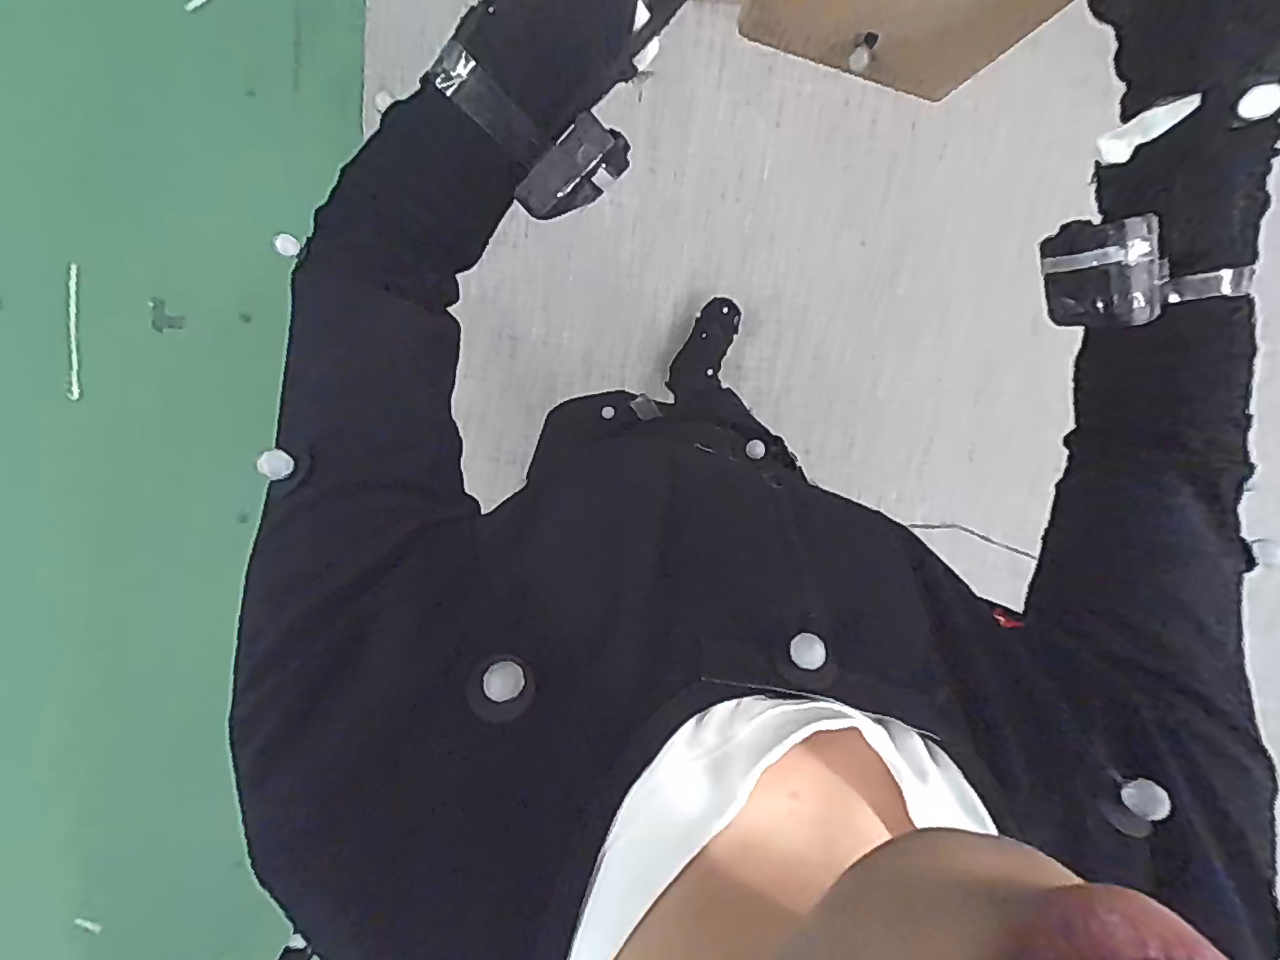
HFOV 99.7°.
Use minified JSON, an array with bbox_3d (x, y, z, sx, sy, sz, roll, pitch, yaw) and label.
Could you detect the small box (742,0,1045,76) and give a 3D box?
[{"bbox_3d":[0.184,-0.392,0.329,0.179,0.176,0.168,12,100,-10],"label":"small box"}]
